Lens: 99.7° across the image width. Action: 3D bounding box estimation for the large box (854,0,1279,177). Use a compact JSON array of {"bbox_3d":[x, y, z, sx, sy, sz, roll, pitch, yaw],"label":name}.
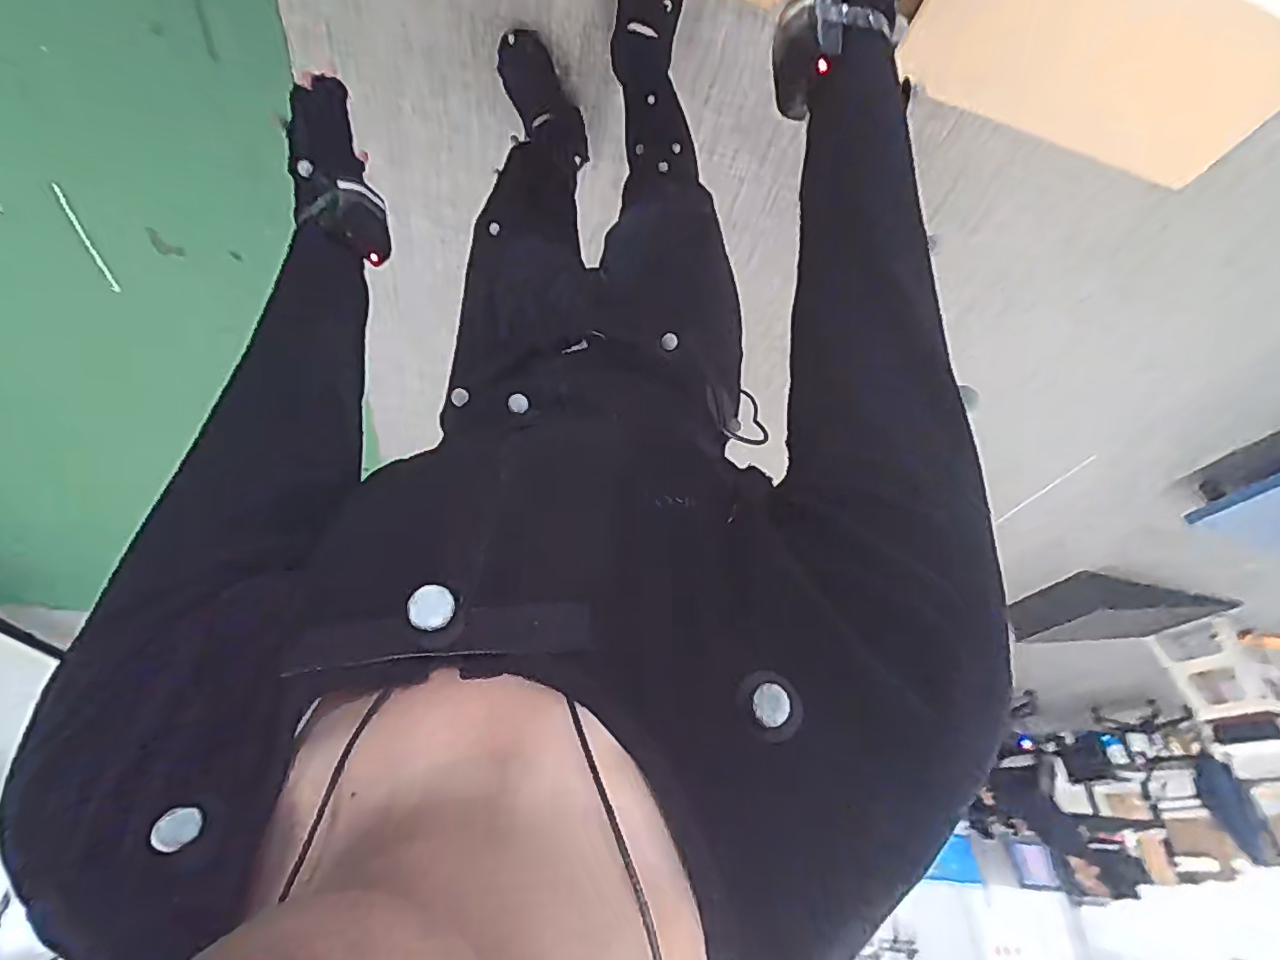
[{"bbox_3d":[0.481,-0.588,0.545,0.408,0.320,0.320,12,147,-10],"label":"large box"}]
